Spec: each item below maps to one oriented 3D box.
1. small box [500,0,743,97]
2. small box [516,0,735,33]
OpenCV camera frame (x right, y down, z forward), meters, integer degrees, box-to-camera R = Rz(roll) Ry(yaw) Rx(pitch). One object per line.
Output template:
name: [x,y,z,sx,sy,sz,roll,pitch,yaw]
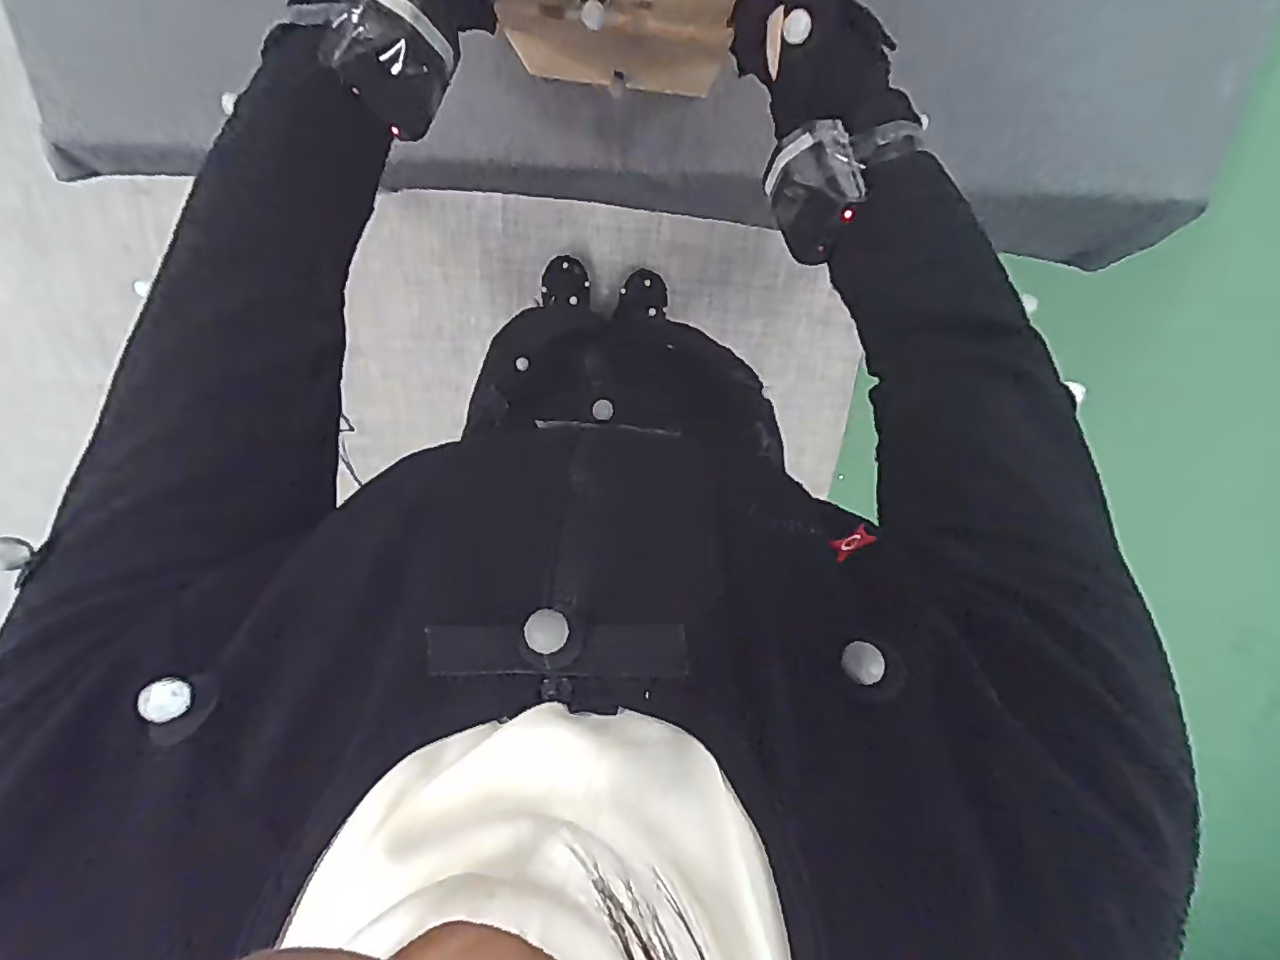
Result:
small box: [-0.009,-0.433,0.436,0.179,0.176,0.168,4,112,-3]
small box: [-0.011,-0.380,0.282,0.168,0.176,0.179,5,113,-1]
